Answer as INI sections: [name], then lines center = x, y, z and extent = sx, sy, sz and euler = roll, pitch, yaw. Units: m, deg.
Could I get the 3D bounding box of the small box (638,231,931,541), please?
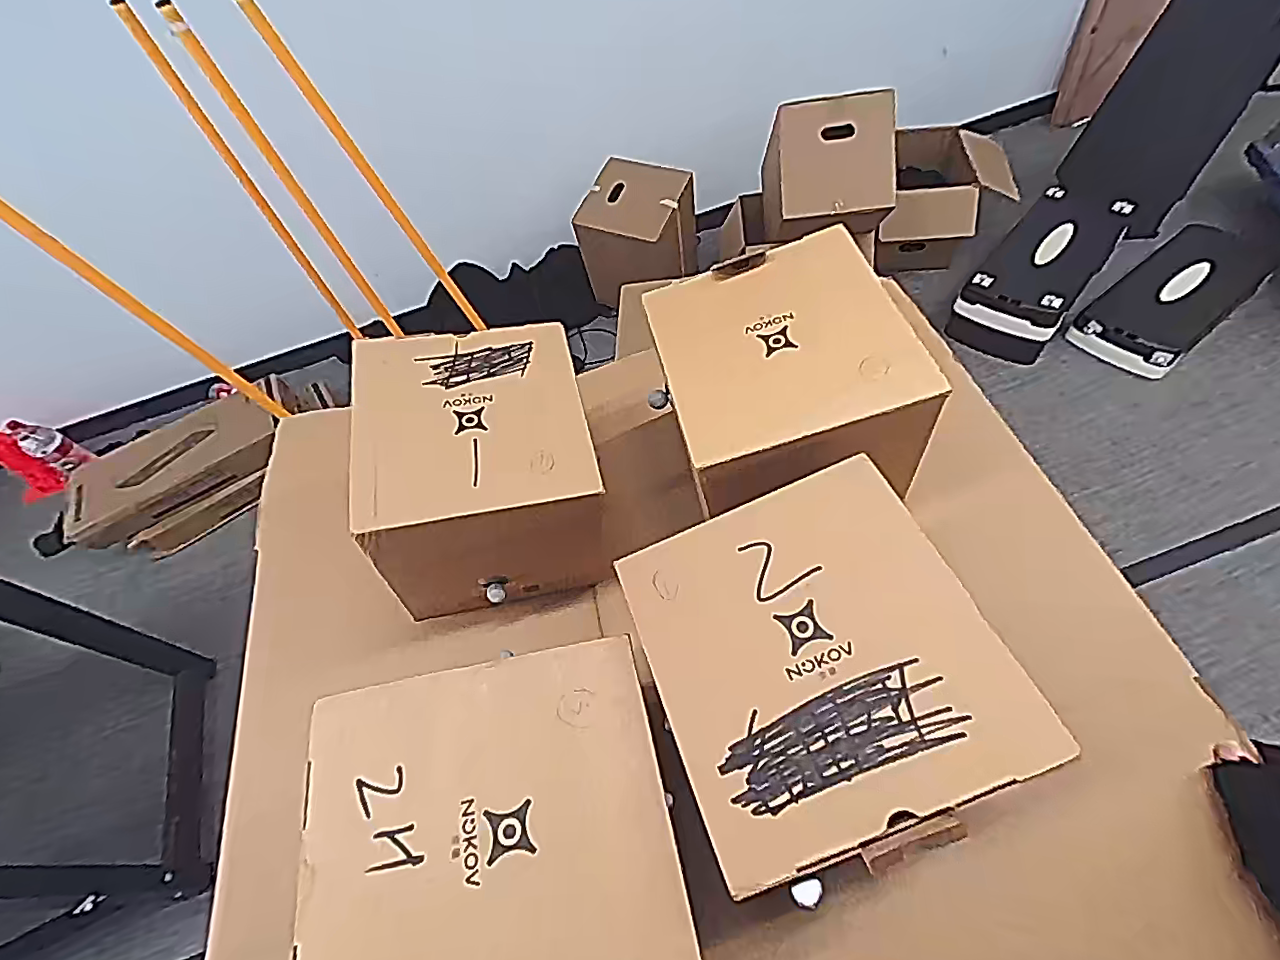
[small box]
center = 0.111, -0.063, 0.456
extent = 0.168, 0.176, 0.179
euler = -17, 58, 6
